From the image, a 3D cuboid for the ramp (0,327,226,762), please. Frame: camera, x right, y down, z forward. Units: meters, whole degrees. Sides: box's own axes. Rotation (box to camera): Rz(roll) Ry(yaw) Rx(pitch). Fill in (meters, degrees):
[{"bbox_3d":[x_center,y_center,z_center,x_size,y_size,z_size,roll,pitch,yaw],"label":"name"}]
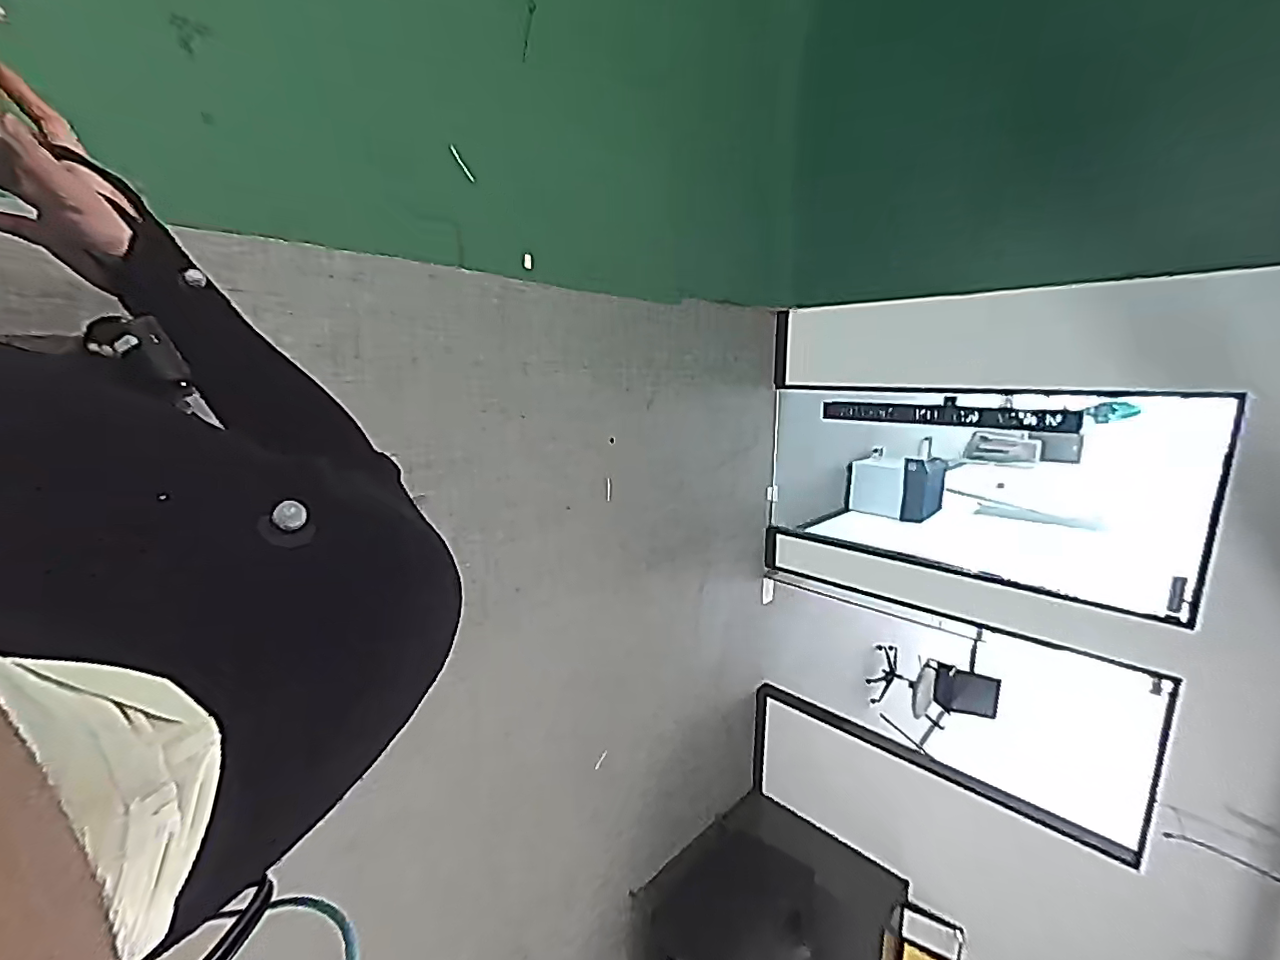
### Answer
[{"bbox_3d":[-1.294,0.162,1.231,0.509,0.206,0.991,-14,109,-45],"label":"ramp"}]
